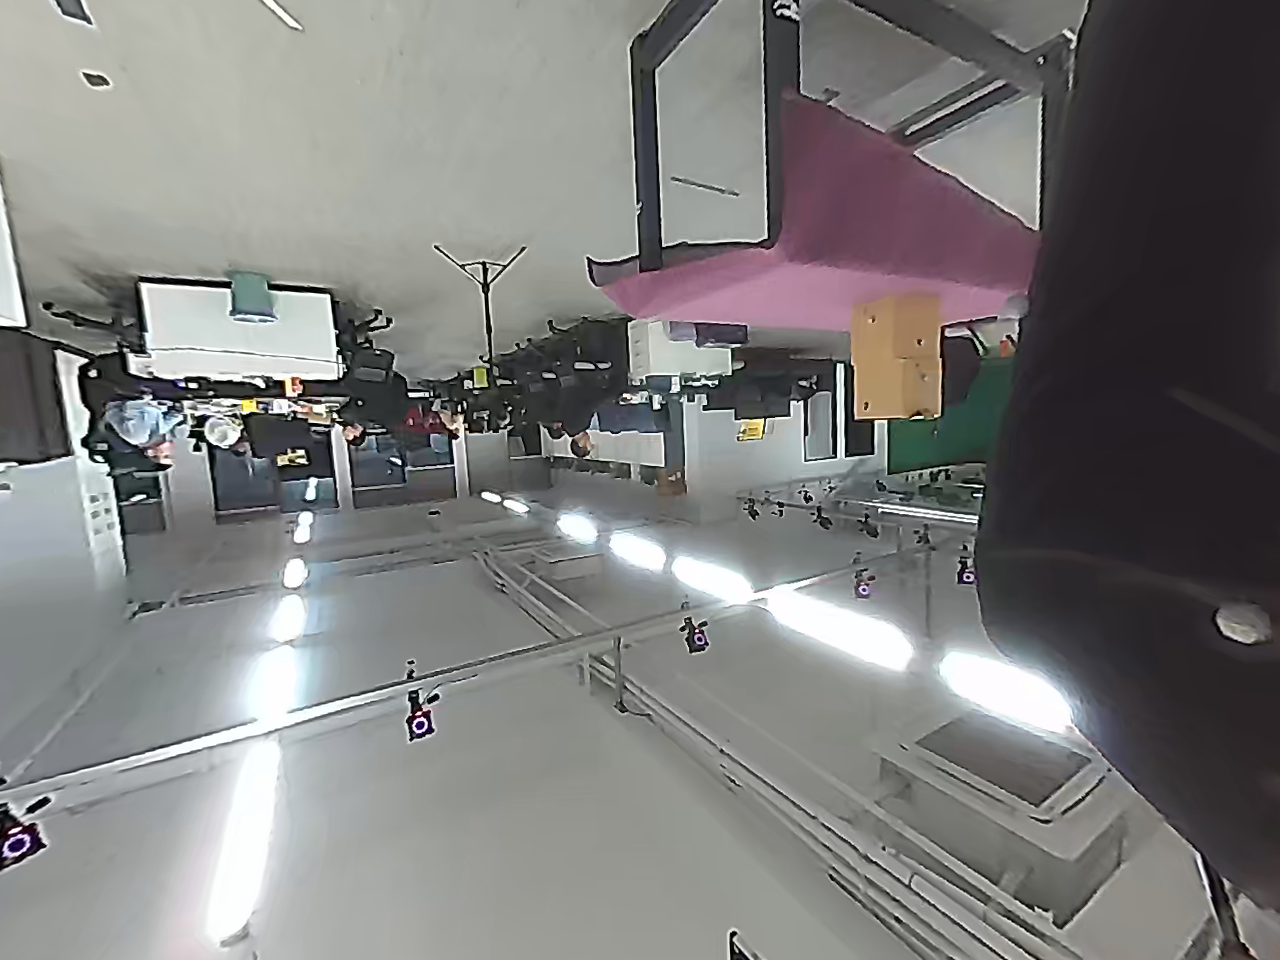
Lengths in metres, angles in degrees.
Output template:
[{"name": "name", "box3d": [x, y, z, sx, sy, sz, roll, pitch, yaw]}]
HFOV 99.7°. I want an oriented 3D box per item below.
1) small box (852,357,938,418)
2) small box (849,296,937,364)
[{"name": "small box", "box3d": [0.757, -0.272, 1.605, 0.168, 0.176, 0.179, -7, -172, -25]}, {"name": "small box", "box3d": [0.733, -0.433, 1.569, 0.179, 0.176, 0.168, -5, -173, -20]}]
